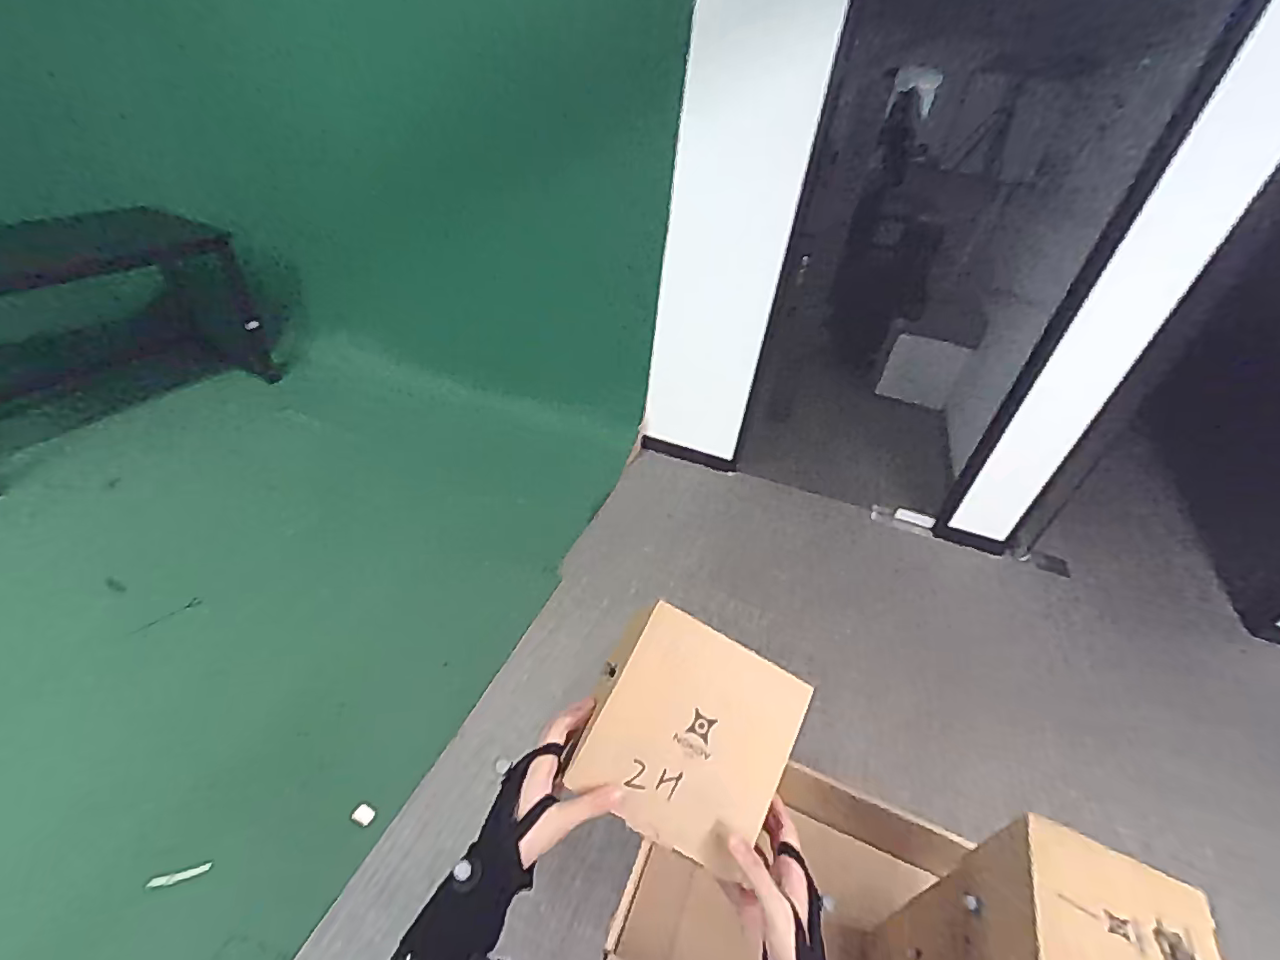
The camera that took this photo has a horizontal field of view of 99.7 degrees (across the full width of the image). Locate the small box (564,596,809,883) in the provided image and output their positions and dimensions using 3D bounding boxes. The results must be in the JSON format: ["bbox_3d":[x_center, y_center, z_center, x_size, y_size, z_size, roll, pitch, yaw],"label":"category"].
[{"bbox_3d":[0.032,0.239,0.540,0.168,0.176,0.179,30,71,1],"label":"small box"}]

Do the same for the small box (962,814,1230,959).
[{"bbox_3d":[0.481,0.514,0.585,0.179,0.176,0.168,21,40,18],"label":"small box"}]
